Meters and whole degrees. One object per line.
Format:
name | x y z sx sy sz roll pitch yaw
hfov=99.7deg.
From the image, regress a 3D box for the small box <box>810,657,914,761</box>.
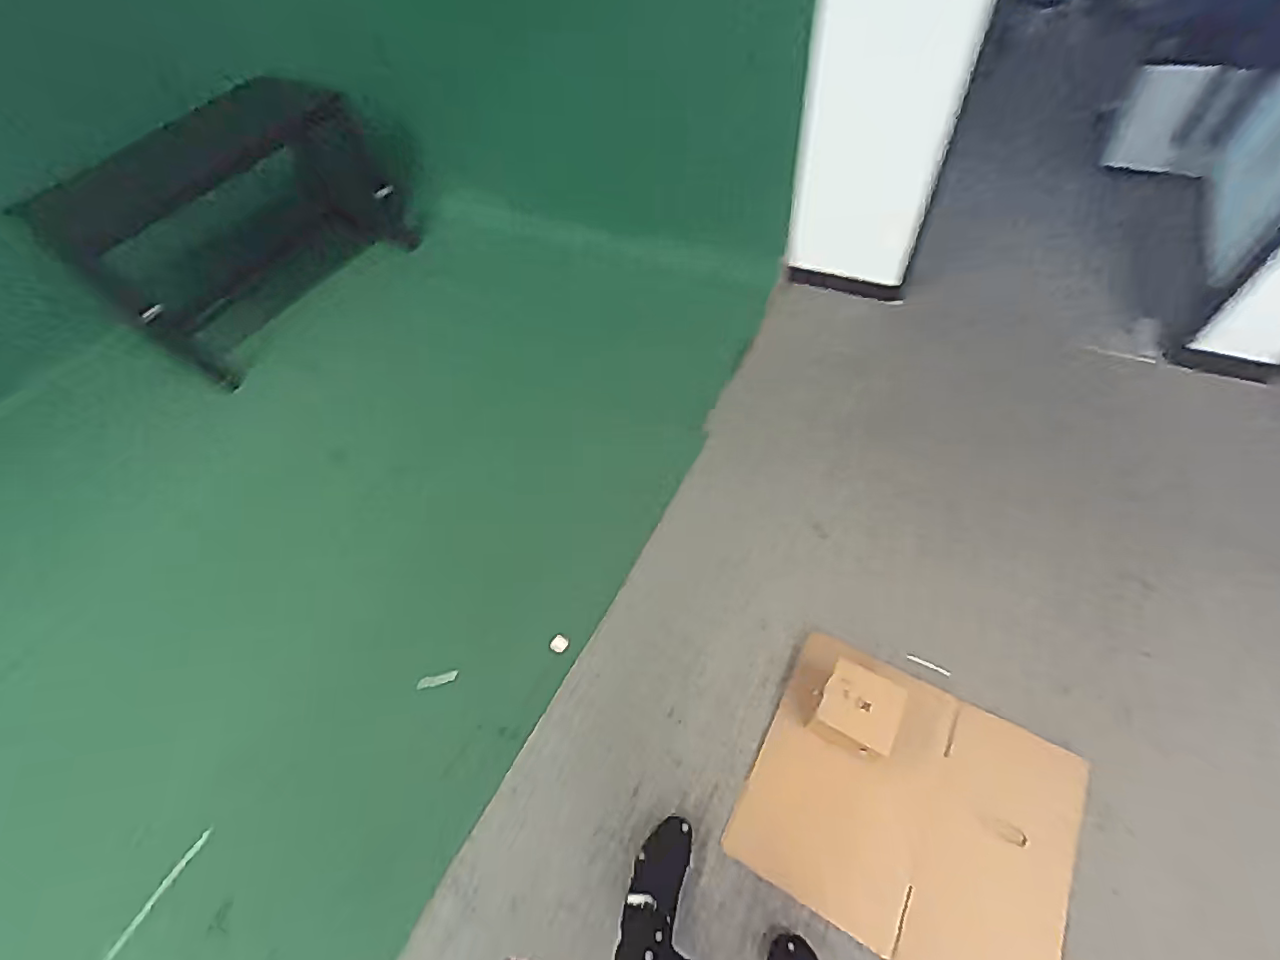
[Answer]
small box | 0.544 0.574 1.344 0.179 0.176 0.168 25 63 22
